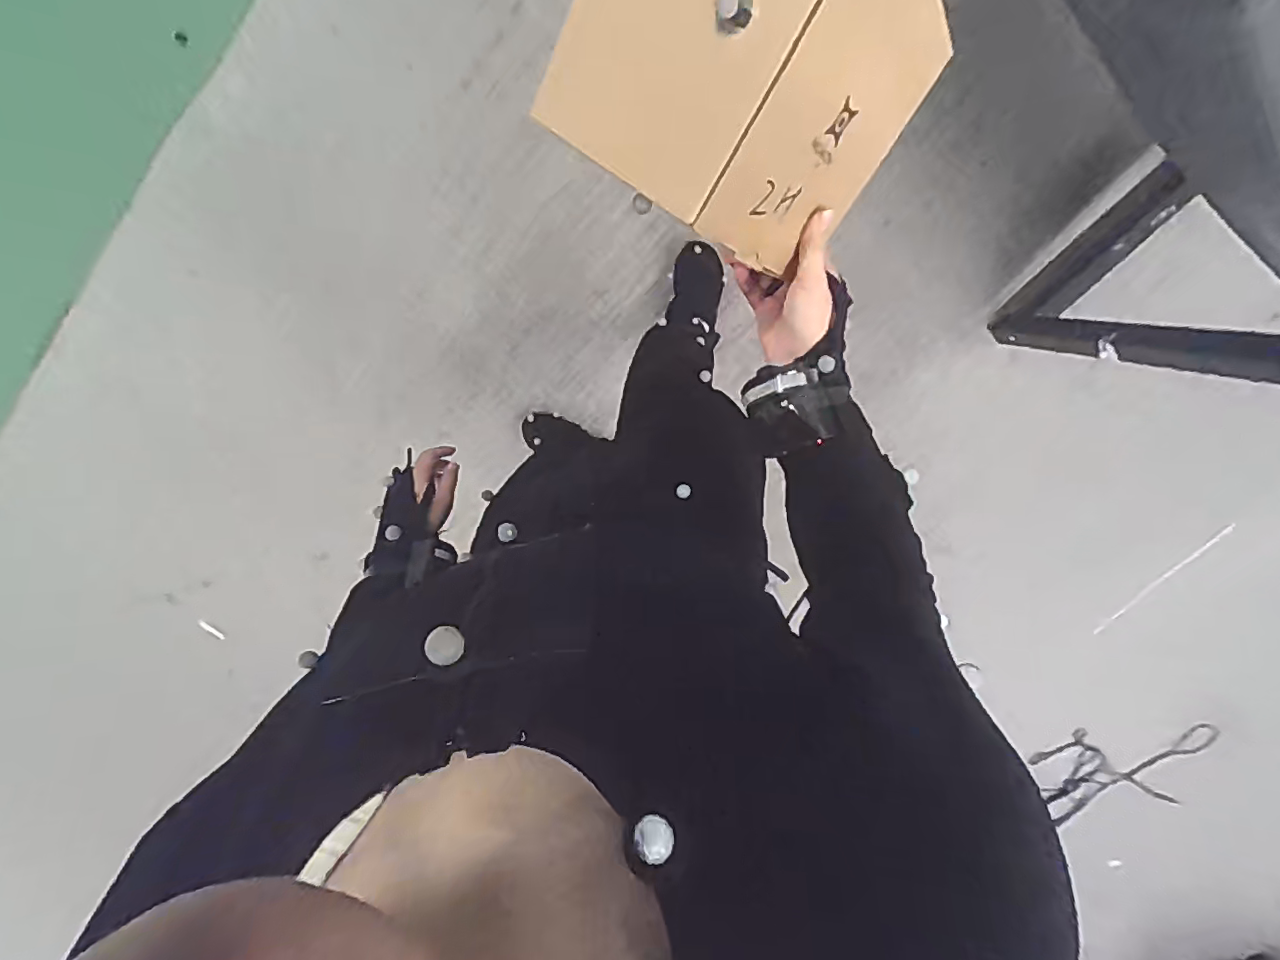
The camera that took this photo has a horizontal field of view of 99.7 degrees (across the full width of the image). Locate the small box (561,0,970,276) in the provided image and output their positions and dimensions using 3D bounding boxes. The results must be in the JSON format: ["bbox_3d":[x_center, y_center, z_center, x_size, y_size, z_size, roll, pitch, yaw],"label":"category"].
[{"bbox_3d":[0.076,-0.274,0.362,0.176,0.168,0.179,48,120,23],"label":"small box"}]
